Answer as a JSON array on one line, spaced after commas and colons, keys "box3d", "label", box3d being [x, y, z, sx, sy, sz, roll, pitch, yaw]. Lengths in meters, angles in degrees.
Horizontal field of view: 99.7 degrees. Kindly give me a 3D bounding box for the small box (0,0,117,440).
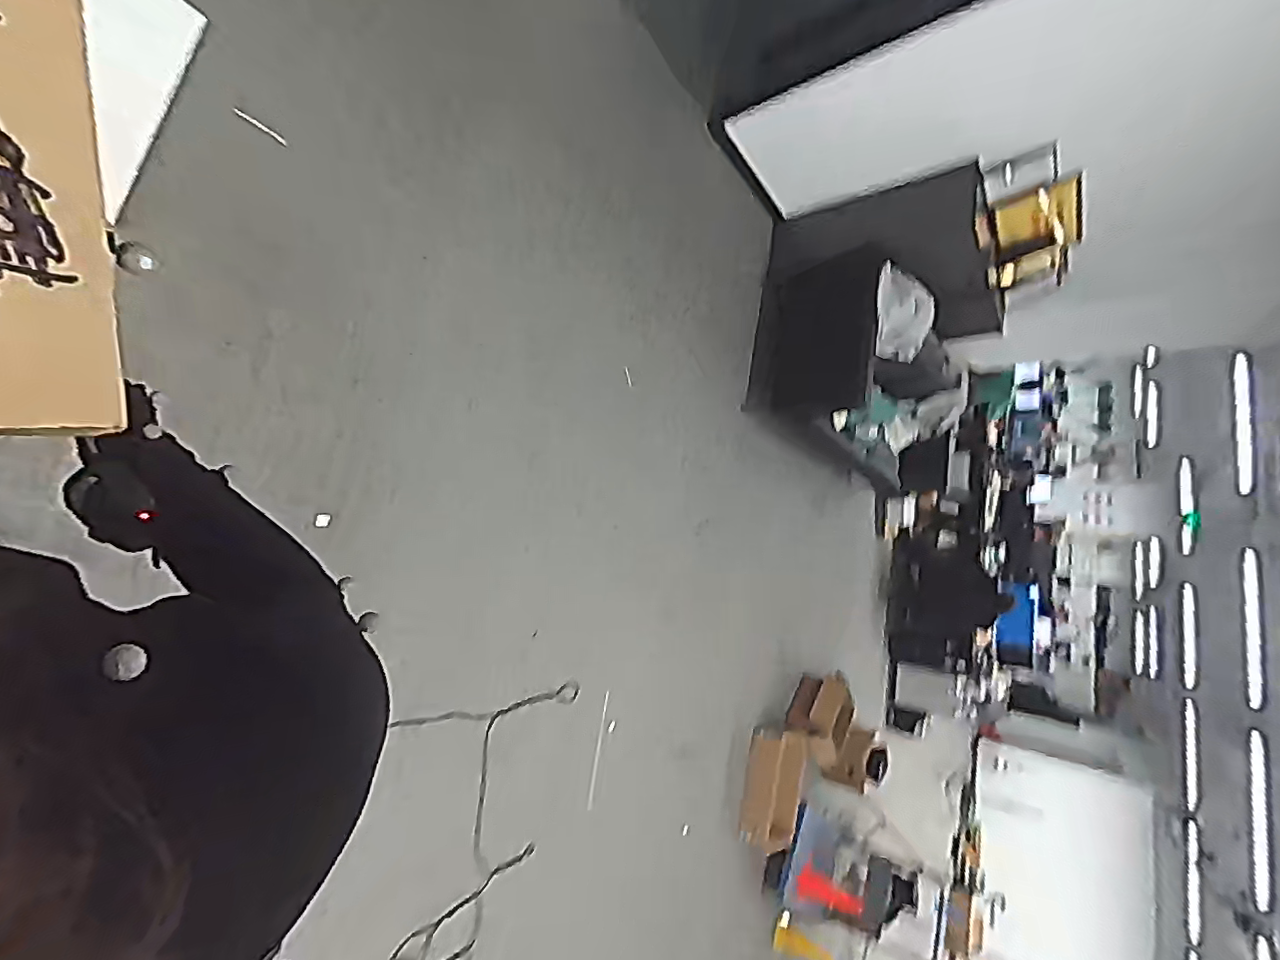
[{"box3d": [-0.300, -0.094, 0.174, 0.179, 0.176, 0.168, -8, 100, -46], "label": "small box"}]
